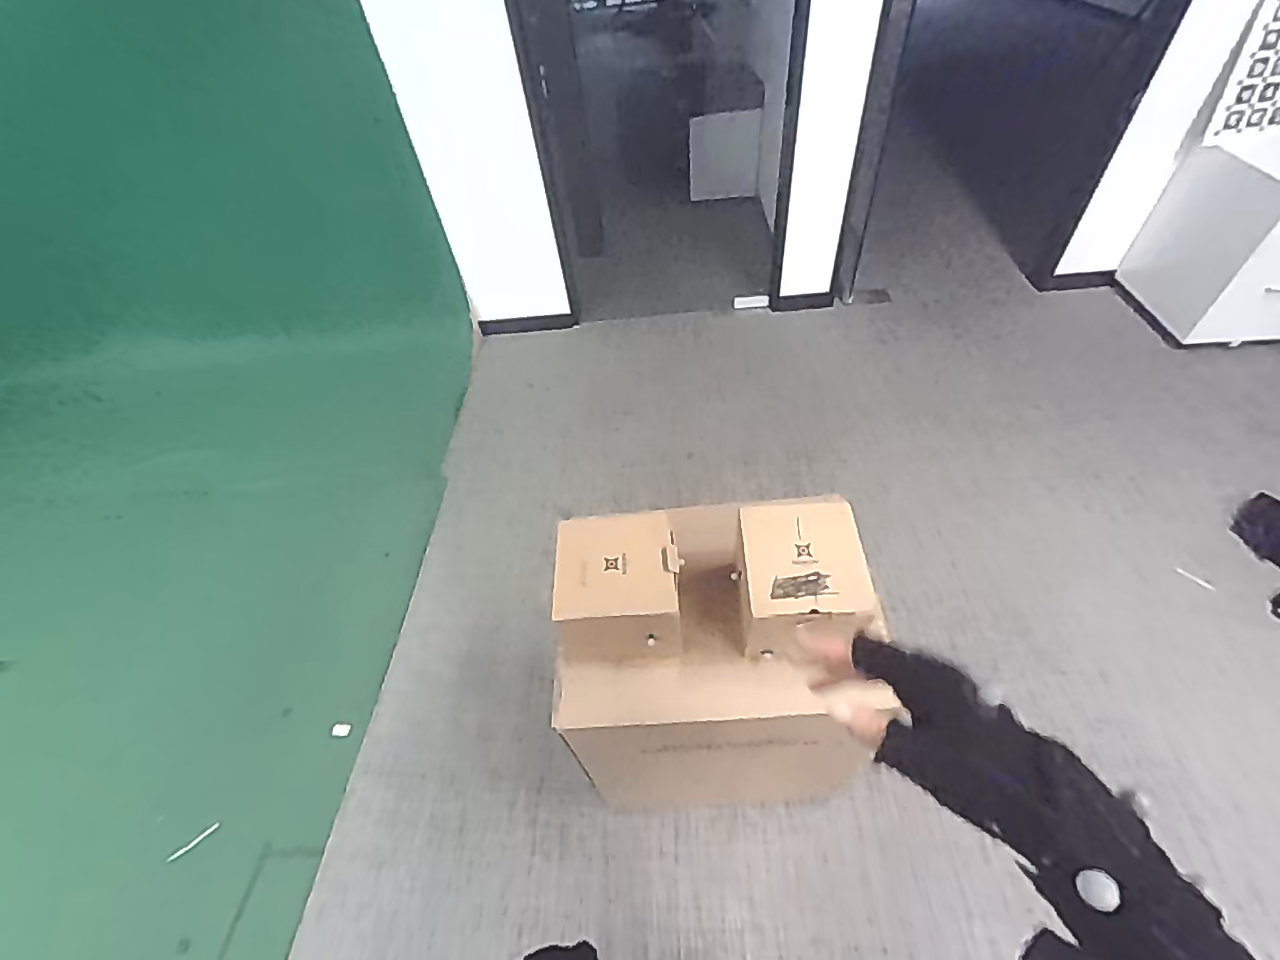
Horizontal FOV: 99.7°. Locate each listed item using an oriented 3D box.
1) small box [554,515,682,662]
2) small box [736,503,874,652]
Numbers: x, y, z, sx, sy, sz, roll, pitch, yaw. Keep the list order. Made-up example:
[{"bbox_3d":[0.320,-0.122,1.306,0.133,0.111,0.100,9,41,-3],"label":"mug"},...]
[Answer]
[{"bbox_3d":[-0.026,0.174,0.850,0.179,0.176,0.168,-6,51,4],"label":"small box"},{"bbox_3d":[0.237,0.155,0.826,0.168,0.176,0.179,-3,52,5],"label":"small box"}]
